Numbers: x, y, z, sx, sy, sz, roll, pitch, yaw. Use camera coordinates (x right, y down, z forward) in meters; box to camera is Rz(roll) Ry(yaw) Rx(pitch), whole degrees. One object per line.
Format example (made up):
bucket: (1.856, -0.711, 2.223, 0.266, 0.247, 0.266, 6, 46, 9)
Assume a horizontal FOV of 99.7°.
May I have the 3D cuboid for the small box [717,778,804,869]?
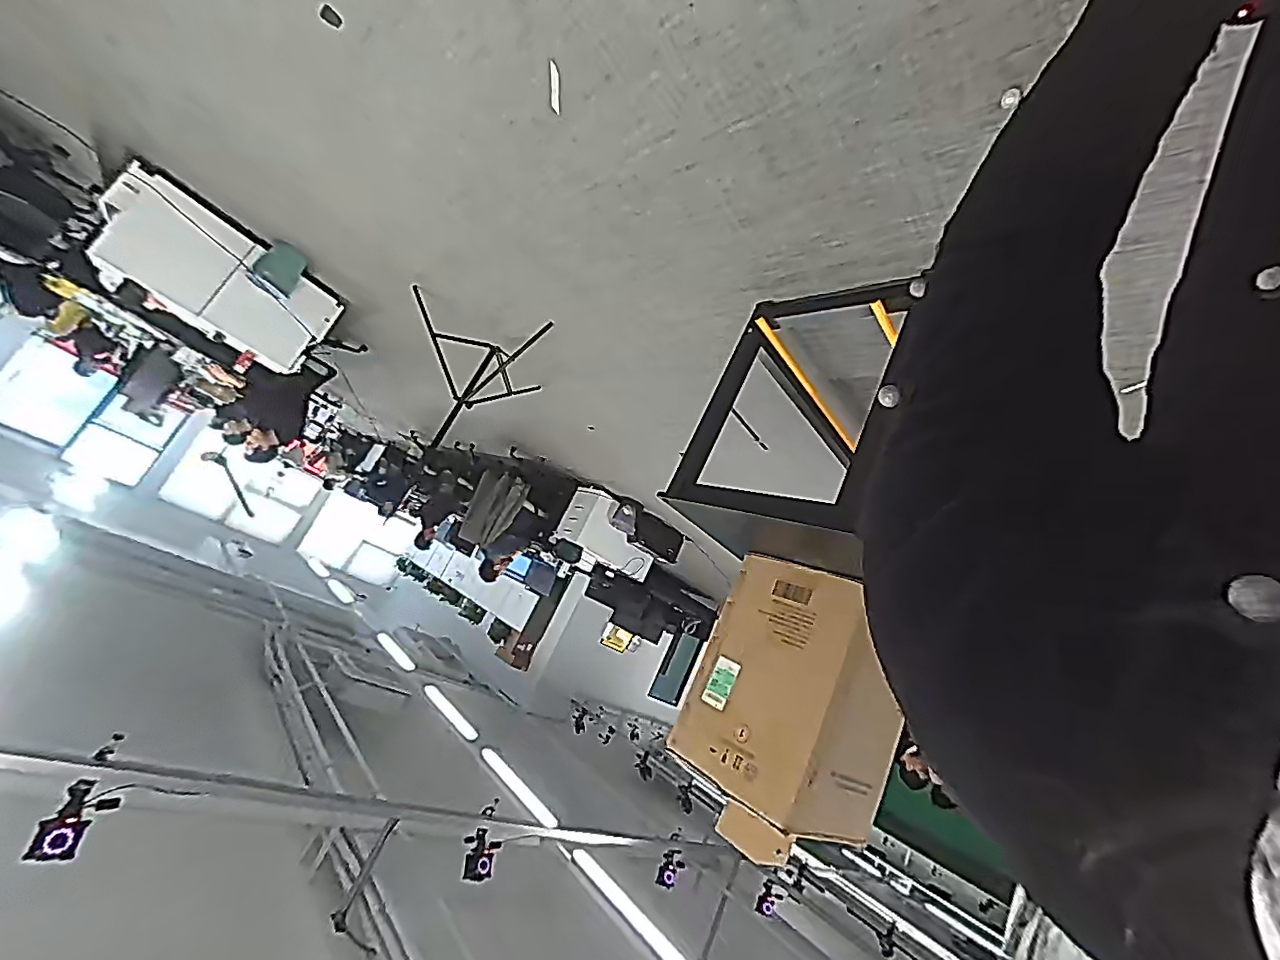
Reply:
small box: (0.374, 1.051, 1.659, 0.168, 0.176, 0.179, 12, 158, 49)
